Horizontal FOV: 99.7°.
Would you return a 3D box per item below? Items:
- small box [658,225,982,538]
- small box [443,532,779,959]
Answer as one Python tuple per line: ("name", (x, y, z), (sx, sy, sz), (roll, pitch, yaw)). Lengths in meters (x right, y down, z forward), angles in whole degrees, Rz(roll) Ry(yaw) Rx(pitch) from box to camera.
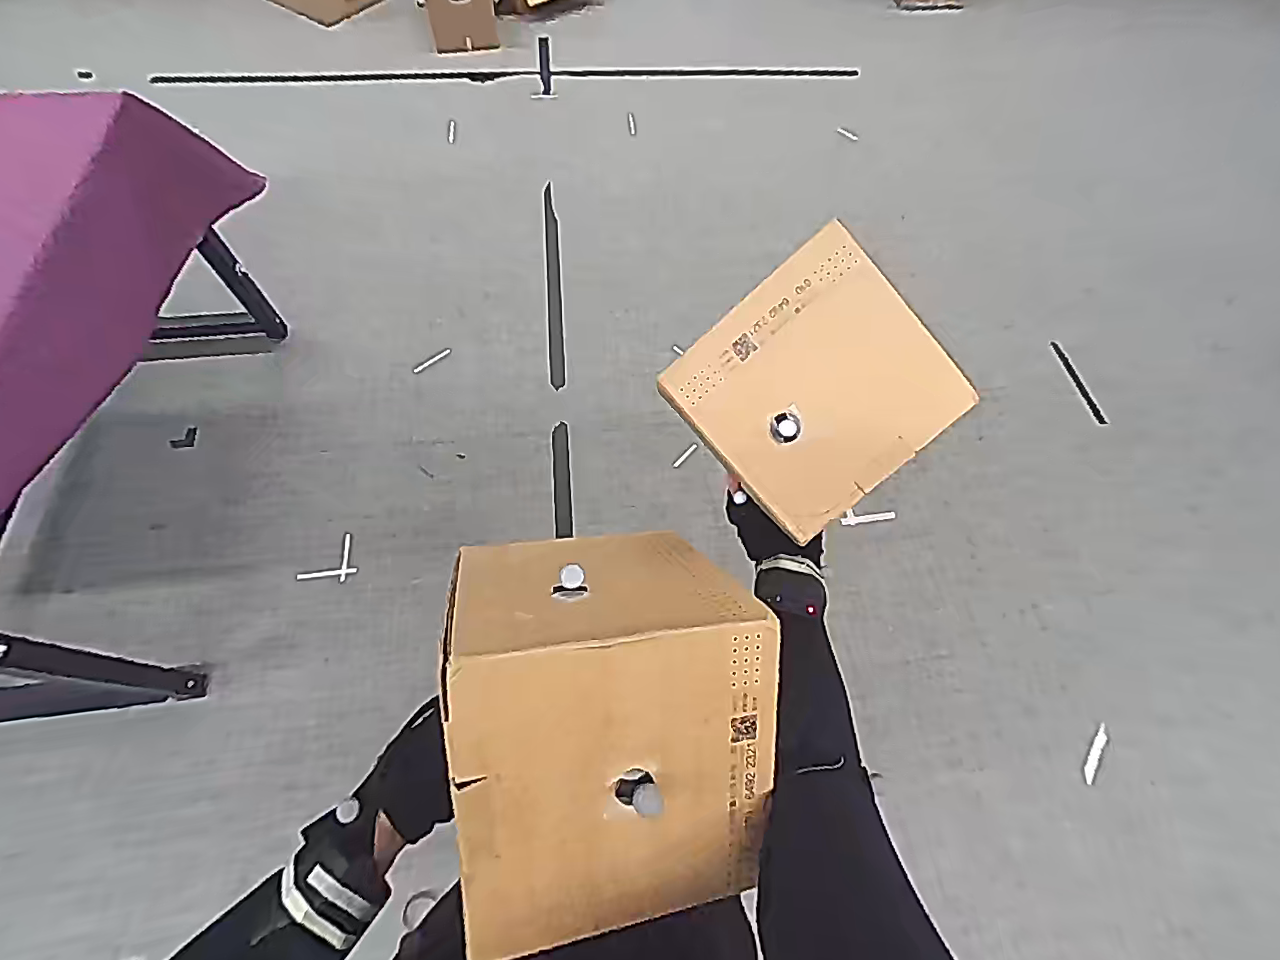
("small box", (0.128, -0.080, 0.460), (0.168, 0.179, 0.176), (-40, 94, 6))
("small box", (-0.028, 0.134, 0.343), (0.176, 0.179, 0.168), (-2, 100, -17))
